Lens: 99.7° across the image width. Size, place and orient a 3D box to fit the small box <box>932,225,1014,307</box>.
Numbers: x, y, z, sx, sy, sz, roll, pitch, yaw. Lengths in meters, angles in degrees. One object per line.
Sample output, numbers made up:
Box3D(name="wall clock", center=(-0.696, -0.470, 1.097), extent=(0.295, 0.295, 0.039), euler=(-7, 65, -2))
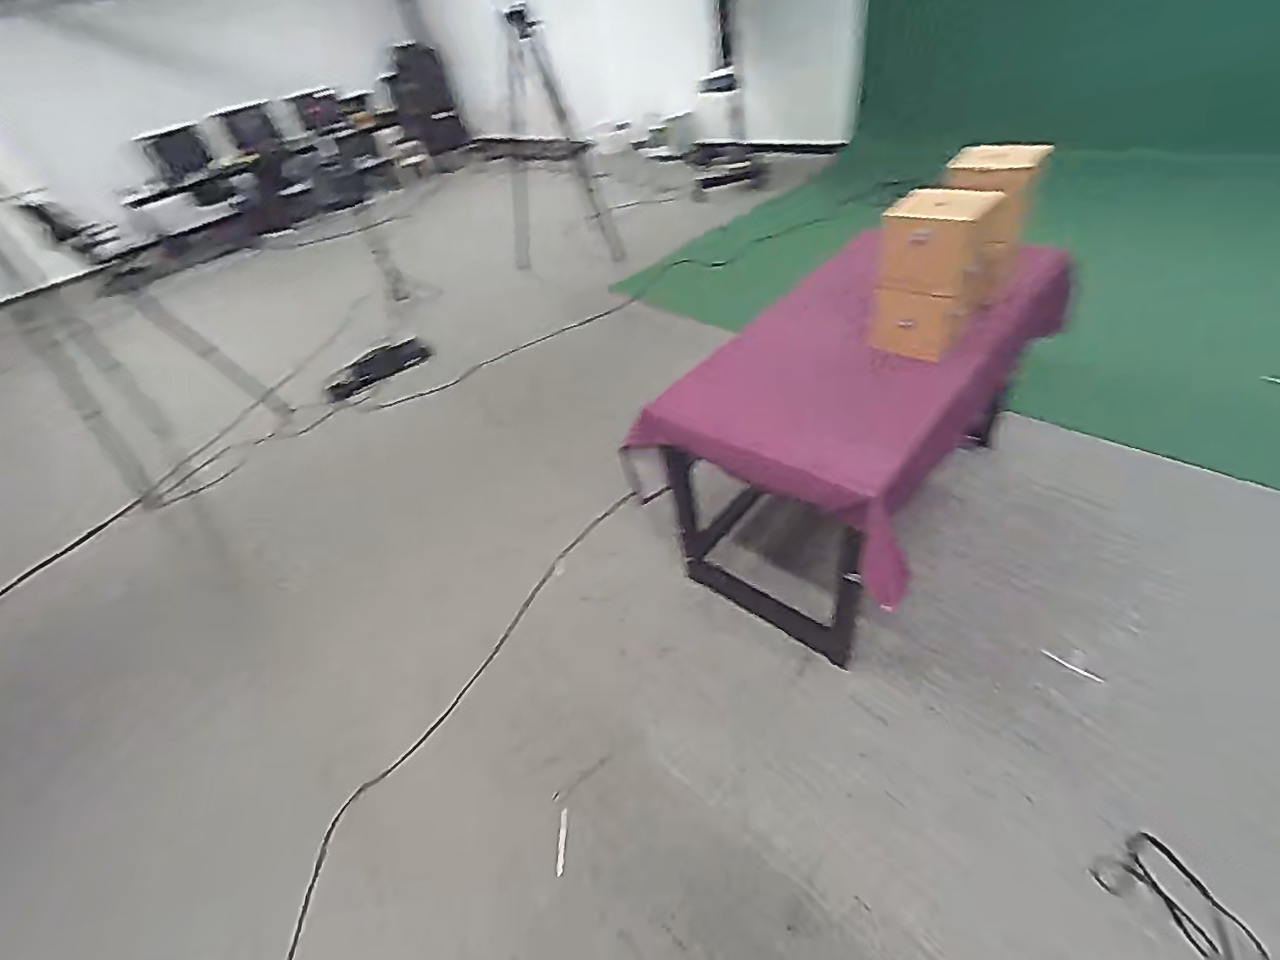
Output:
Box3D(name="small box", center=(0.891, -0.596, 1.495), extent=(0.179, 0.176, 0.168), euler=(24, 54, 34))

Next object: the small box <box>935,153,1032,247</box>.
Box3D(name="small box", center=(0.865, -0.715, 1.385), extent=(0.168, 0.176, 0.179), euler=(24, 54, 34))

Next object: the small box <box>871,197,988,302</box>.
Box3D(name="small box", center=(0.649, -0.525, 1.231), extent=(0.179, 0.176, 0.168), euler=(28, 57, 38))
